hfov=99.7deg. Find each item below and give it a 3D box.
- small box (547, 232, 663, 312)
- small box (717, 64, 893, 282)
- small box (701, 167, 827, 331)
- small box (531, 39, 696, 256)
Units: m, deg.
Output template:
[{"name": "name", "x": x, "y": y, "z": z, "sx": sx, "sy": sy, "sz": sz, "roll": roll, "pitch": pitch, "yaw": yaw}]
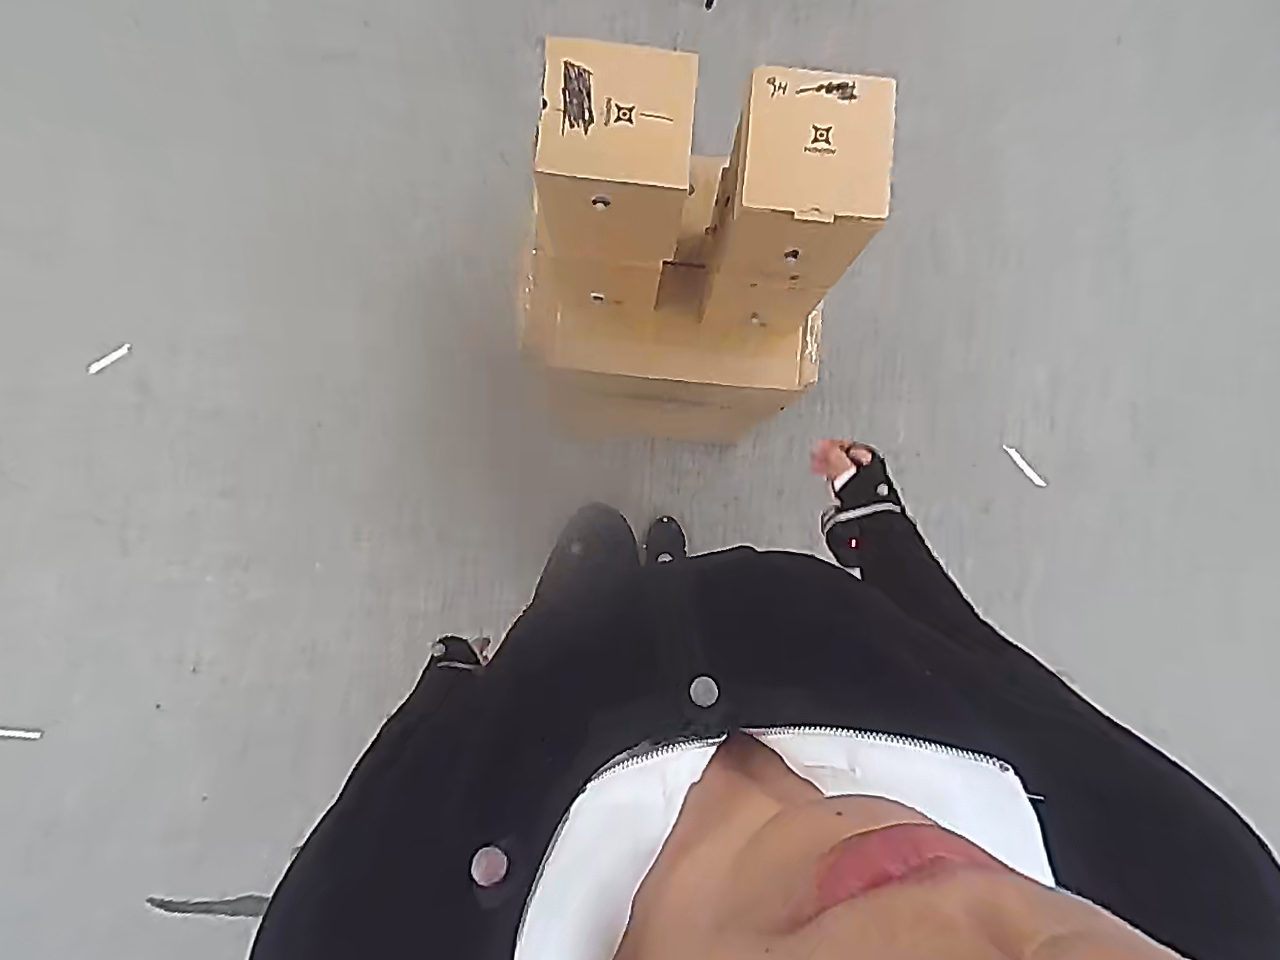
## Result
[{"name": "small box", "x": -0.047, "y": -0.387, "z": 0.852, "sx": 0.168, "sy": 0.176, "sz": 0.179, "roll": 4, "pitch": 86, "yaw": -1}, {"name": "small box", "x": 0.197, "y": -0.374, "z": 0.690, "sx": 0.168, "sy": 0.176, "sz": 0.179, "roll": 6, "pitch": 86, "yaw": -2}, {"name": "small box", "x": 0.190, "y": -0.355, "z": 0.854, "sx": 0.168, "sy": 0.176, "sz": 0.179, "roll": 5, "pitch": 85, "yaw": 0}, {"name": "small box", "x": -0.031, "y": -0.406, "z": 0.689, "sx": 0.179, "sy": 0.176, "sz": 0.168, "roll": 5, "pitch": 85, "yaw": -2}]
